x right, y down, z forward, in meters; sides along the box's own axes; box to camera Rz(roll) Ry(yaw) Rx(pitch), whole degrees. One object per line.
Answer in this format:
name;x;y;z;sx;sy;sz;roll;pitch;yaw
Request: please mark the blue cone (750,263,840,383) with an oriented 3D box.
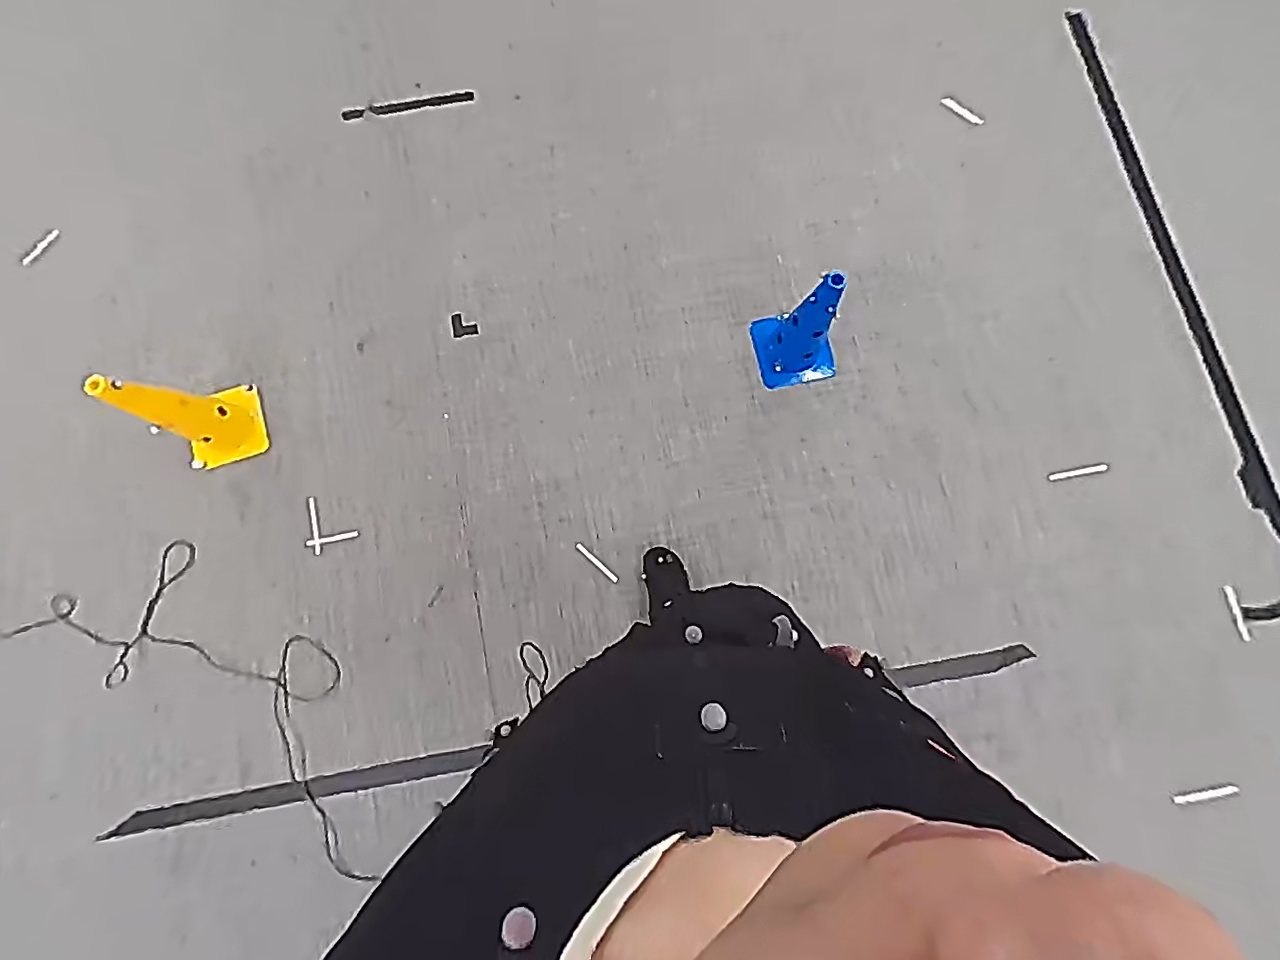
blue cone;0.400;-0.386;1.286;0.193;0.380;0.192;-10;80;-1
